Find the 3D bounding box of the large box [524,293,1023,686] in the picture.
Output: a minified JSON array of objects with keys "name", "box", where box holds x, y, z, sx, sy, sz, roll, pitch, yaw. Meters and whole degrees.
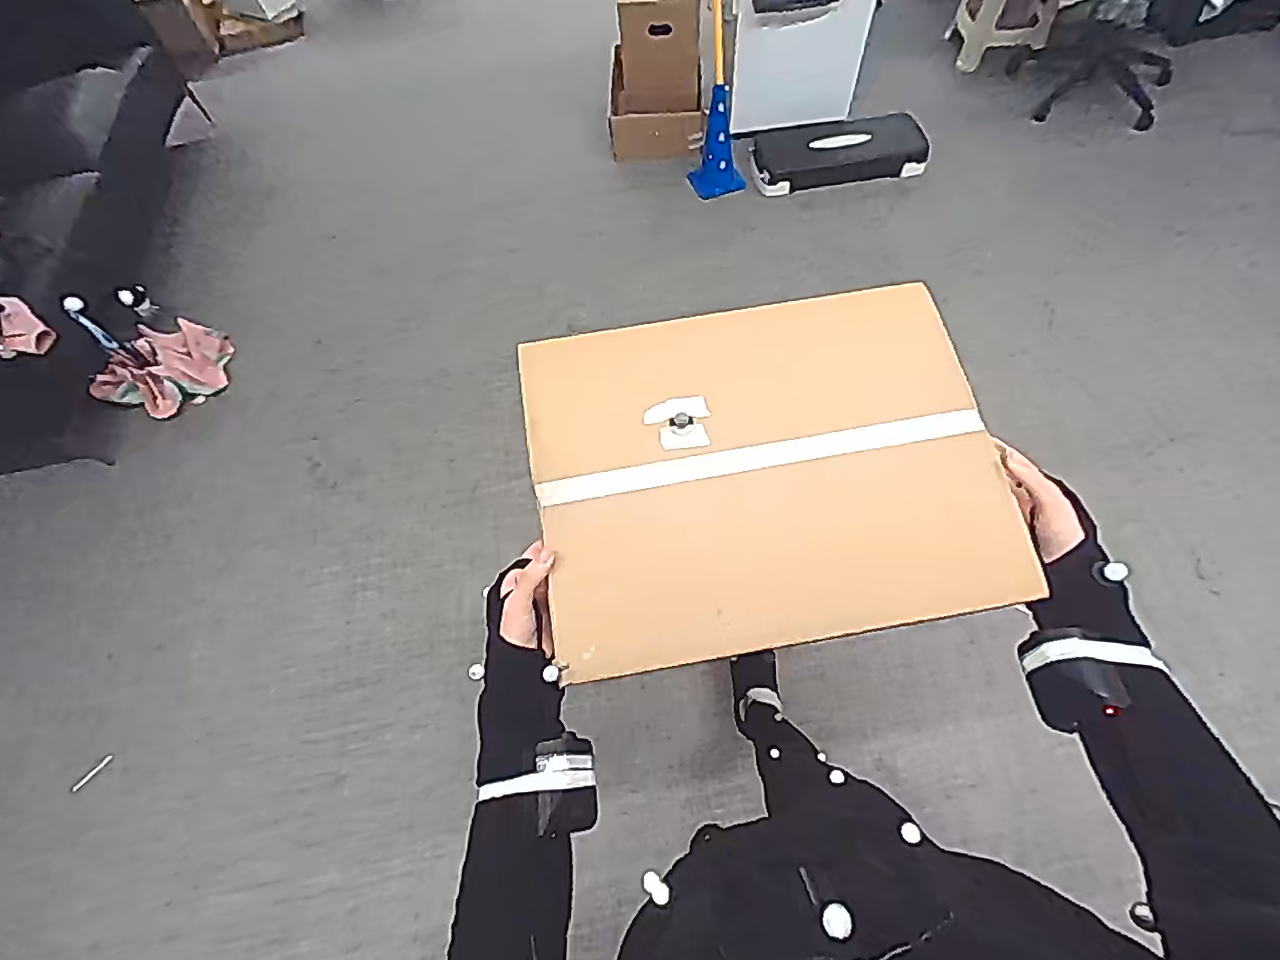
[{"name":"large box","box":[0.112,0.033,0.637,0.408,0.320,0.320,-10,72,-2]}]
